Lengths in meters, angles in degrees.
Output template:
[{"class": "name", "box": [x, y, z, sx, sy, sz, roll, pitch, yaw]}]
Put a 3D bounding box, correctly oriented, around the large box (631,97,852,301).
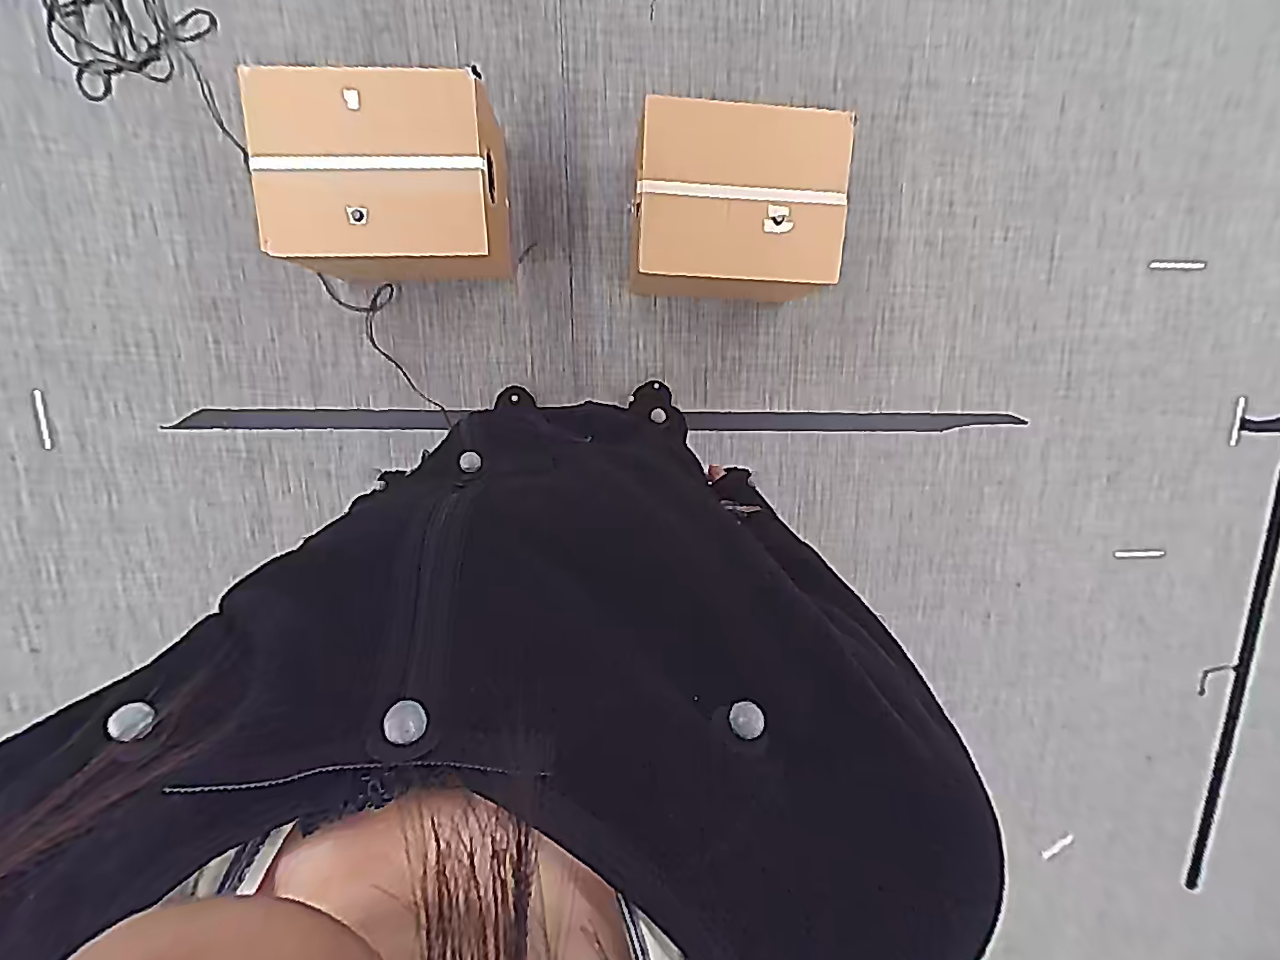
[{"class": "large box", "box": [0.191, -0.583, 1.191, 0.408, 0.320, 0.320, 2, 101, -6]}]
